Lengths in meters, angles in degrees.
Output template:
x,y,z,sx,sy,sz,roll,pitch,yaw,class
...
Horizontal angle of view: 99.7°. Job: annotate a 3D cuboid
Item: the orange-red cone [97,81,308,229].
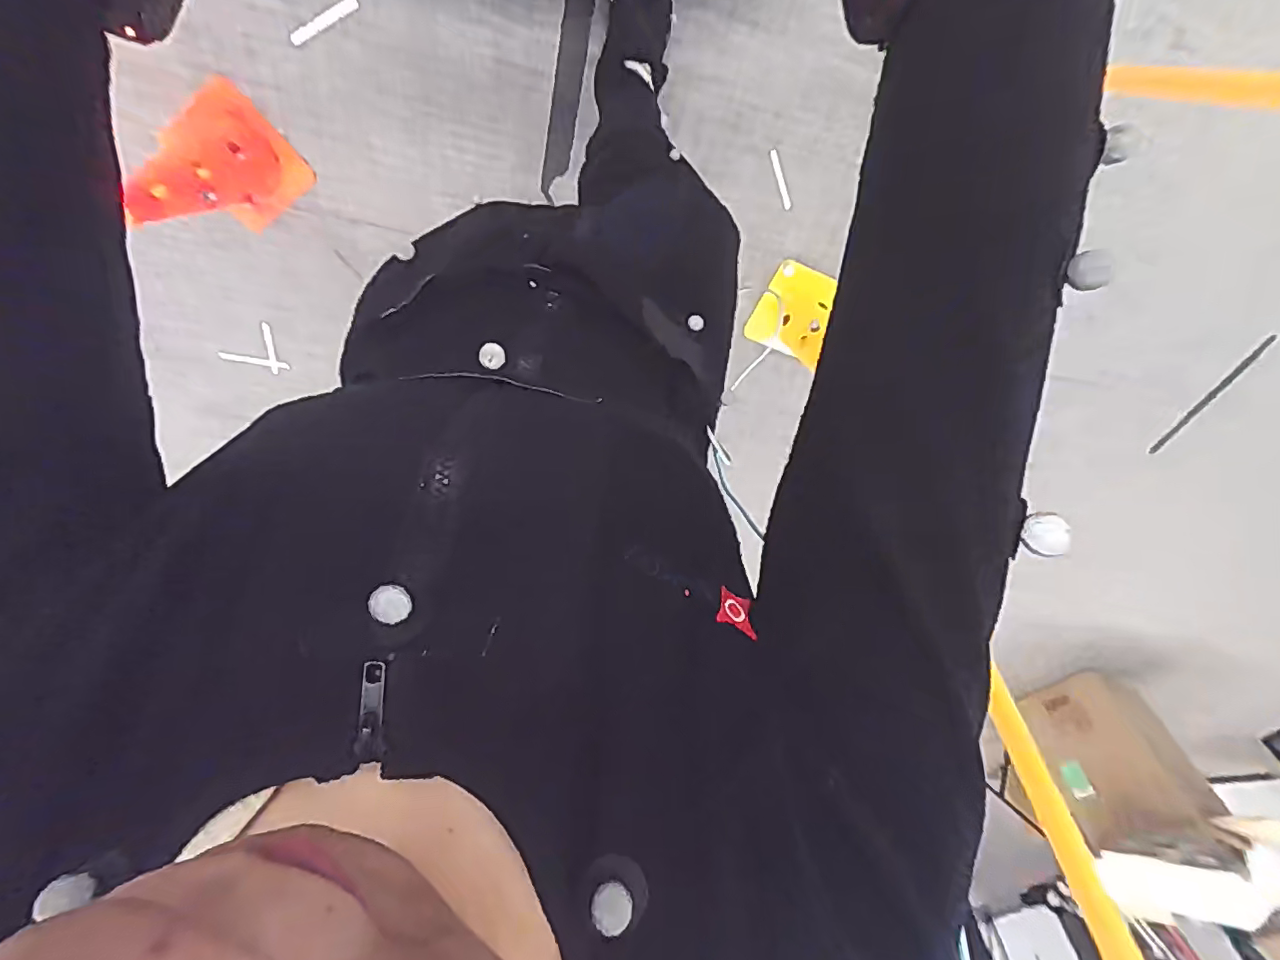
x,y,z,sx,sy,sz,roll,pitch,yaw,class
-0.757,-0.494,0.895,0.199,0.360,0.198,-26,128,17,orange-red cone
